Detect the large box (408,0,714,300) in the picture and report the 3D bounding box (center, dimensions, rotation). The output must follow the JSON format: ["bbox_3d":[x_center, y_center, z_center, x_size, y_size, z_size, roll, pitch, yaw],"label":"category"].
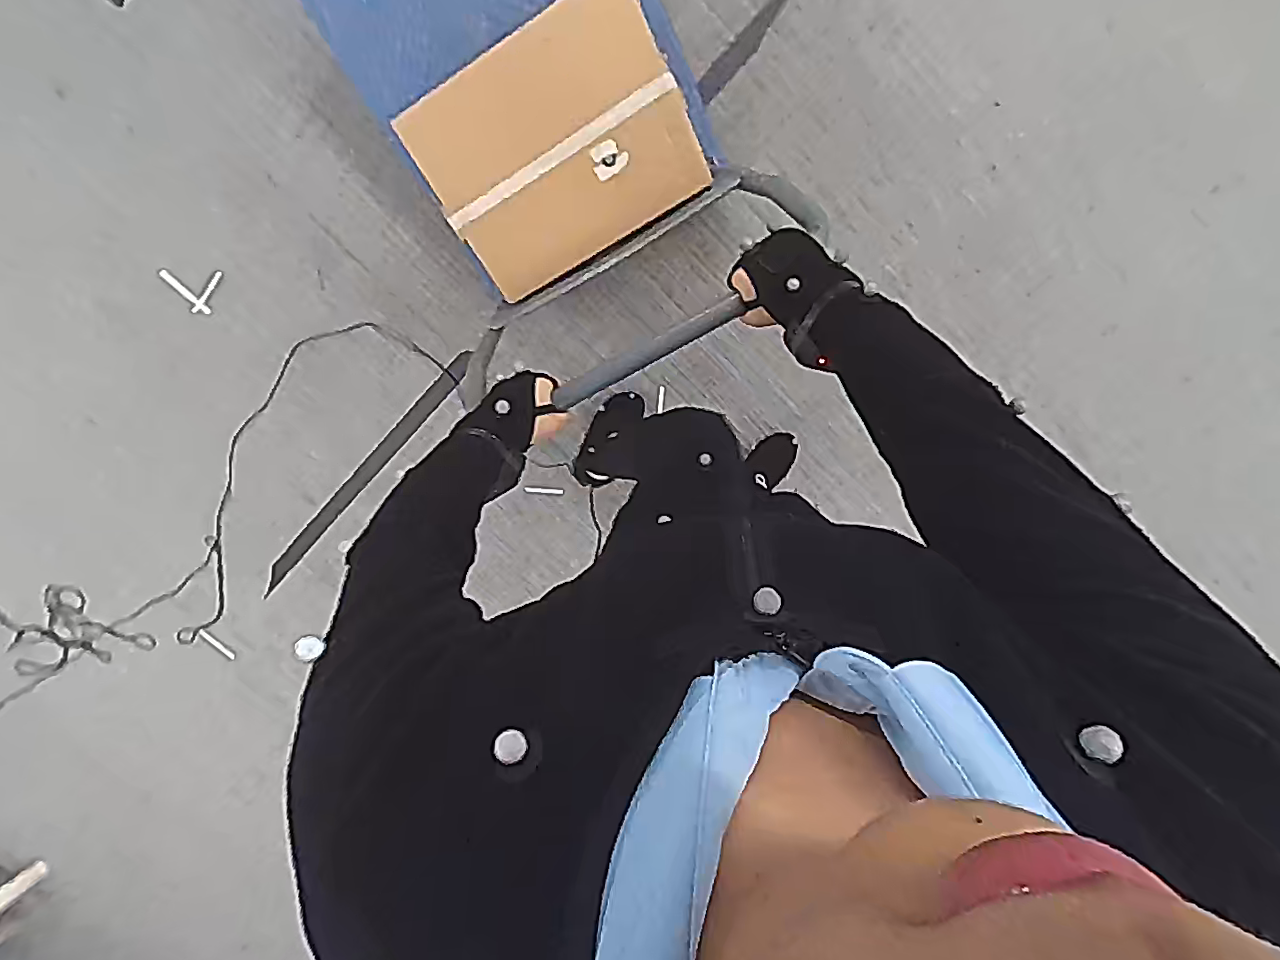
[{"bbox_3d":[-0.131,-0.595,0.998,0.408,0.320,0.320,-28,118,10],"label":"large box"}]
